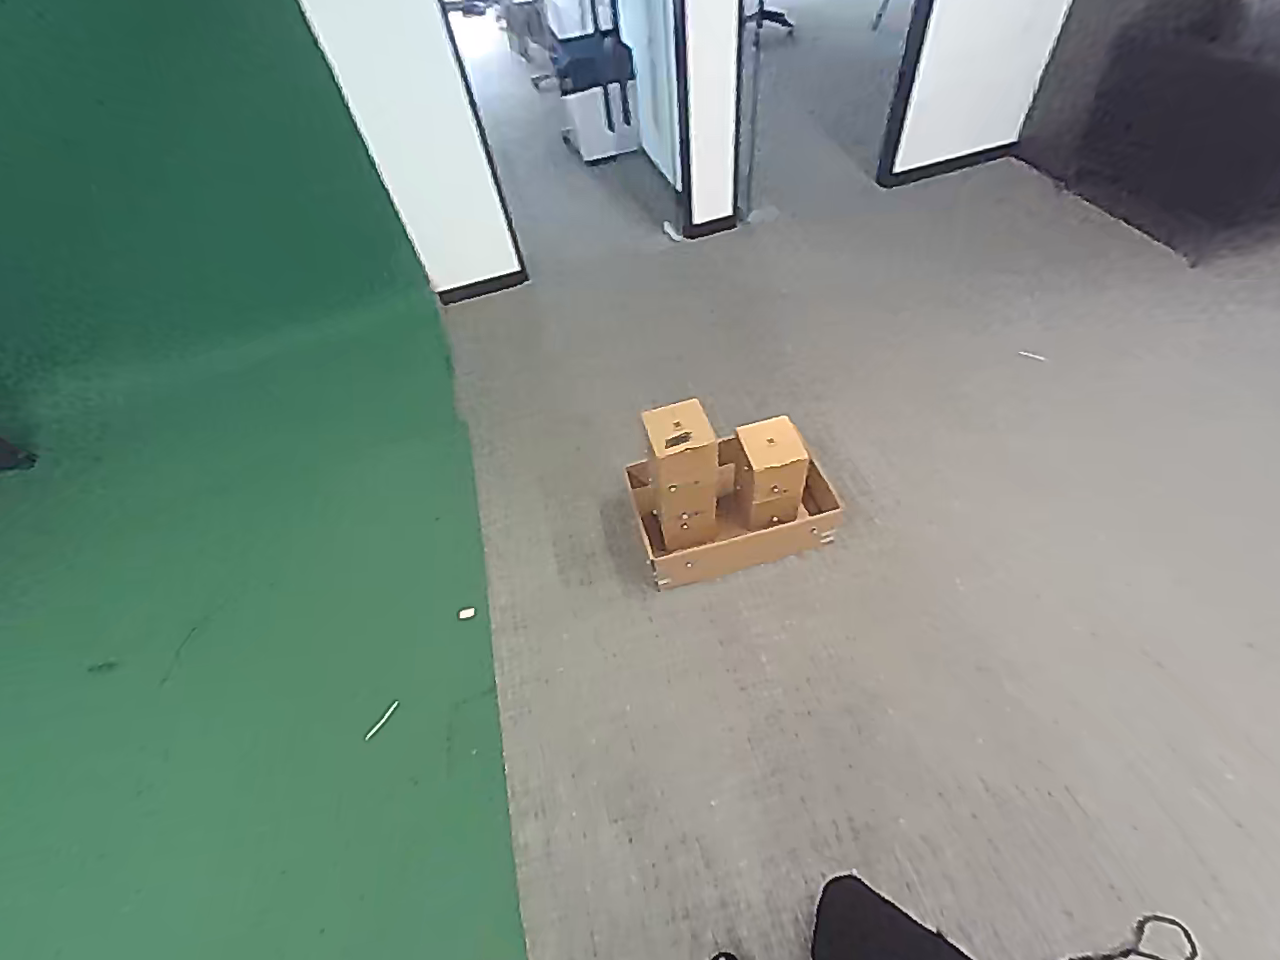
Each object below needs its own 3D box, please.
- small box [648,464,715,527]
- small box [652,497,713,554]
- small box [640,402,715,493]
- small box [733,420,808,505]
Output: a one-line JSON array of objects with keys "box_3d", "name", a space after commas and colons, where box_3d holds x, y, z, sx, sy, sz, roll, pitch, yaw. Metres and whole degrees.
[{"box_3d": [0.120, 0.015, 1.624, 0.168, 0.176, 0.179, -13, 52, -4], "name": "small box"}, {"box_3d": [0.134, 0.113, 1.753, 0.168, 0.176, 0.179, -13, 51, -3], "name": "small box"}, {"box_3d": [0.105, -0.082, 1.493, 0.168, 0.176, 0.179, -15, 51, -5], "name": "small box"}, {"box_3d": [0.388, -0.052, 1.644, 0.168, 0.176, 0.179, -14, 53, -3], "name": "small box"}]
